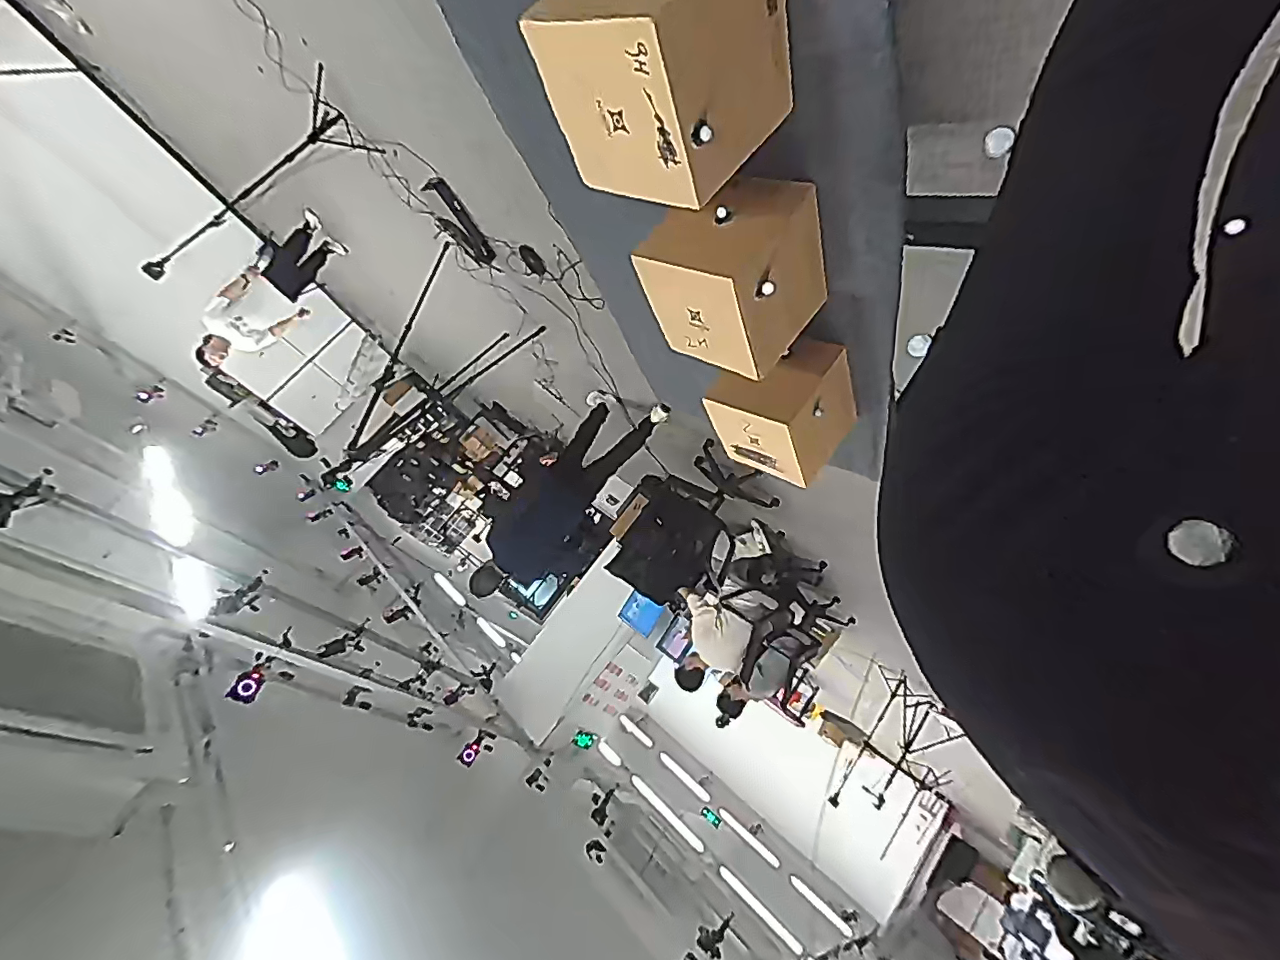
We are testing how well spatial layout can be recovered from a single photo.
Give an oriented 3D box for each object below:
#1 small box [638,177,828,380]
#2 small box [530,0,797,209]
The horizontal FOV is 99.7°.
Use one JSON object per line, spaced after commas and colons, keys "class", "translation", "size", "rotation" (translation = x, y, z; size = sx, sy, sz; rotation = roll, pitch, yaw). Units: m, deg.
{"class": "small box", "translation": [0.131, -0.272, 0.723], "size": [0.168, 0.176, 0.179], "rotation": [31, 165, 35]}
{"class": "small box", "translation": [0.032, -0.409, 0.536], "size": [0.179, 0.176, 0.168], "rotation": [33, 166, 32]}
